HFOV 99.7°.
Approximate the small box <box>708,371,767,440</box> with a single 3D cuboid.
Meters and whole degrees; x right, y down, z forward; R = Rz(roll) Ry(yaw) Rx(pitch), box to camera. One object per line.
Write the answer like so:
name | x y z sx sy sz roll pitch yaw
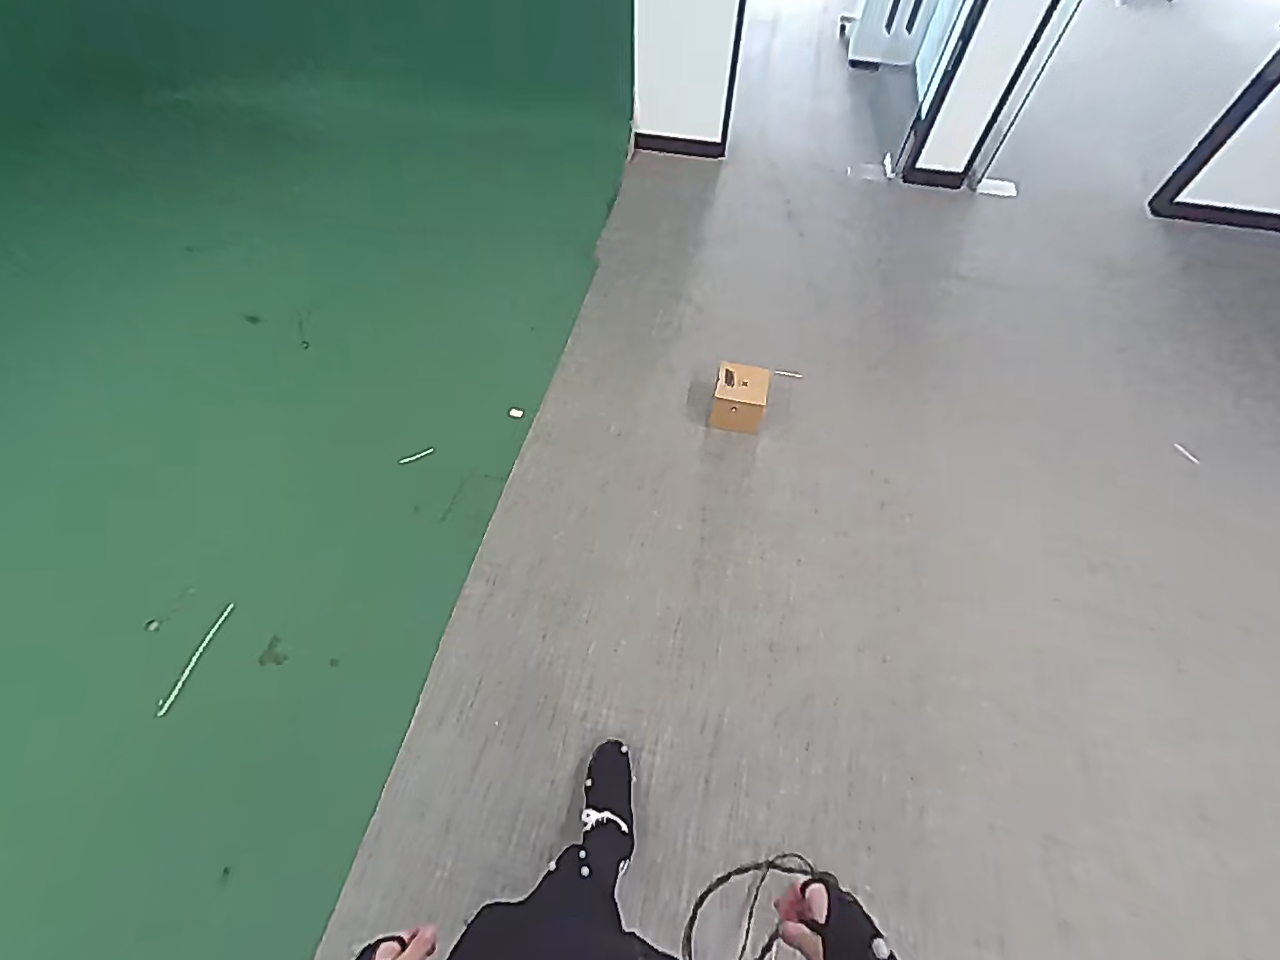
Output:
small box | 0.343 -0.260 1.925 0.179 0.176 0.168 11 59 5
